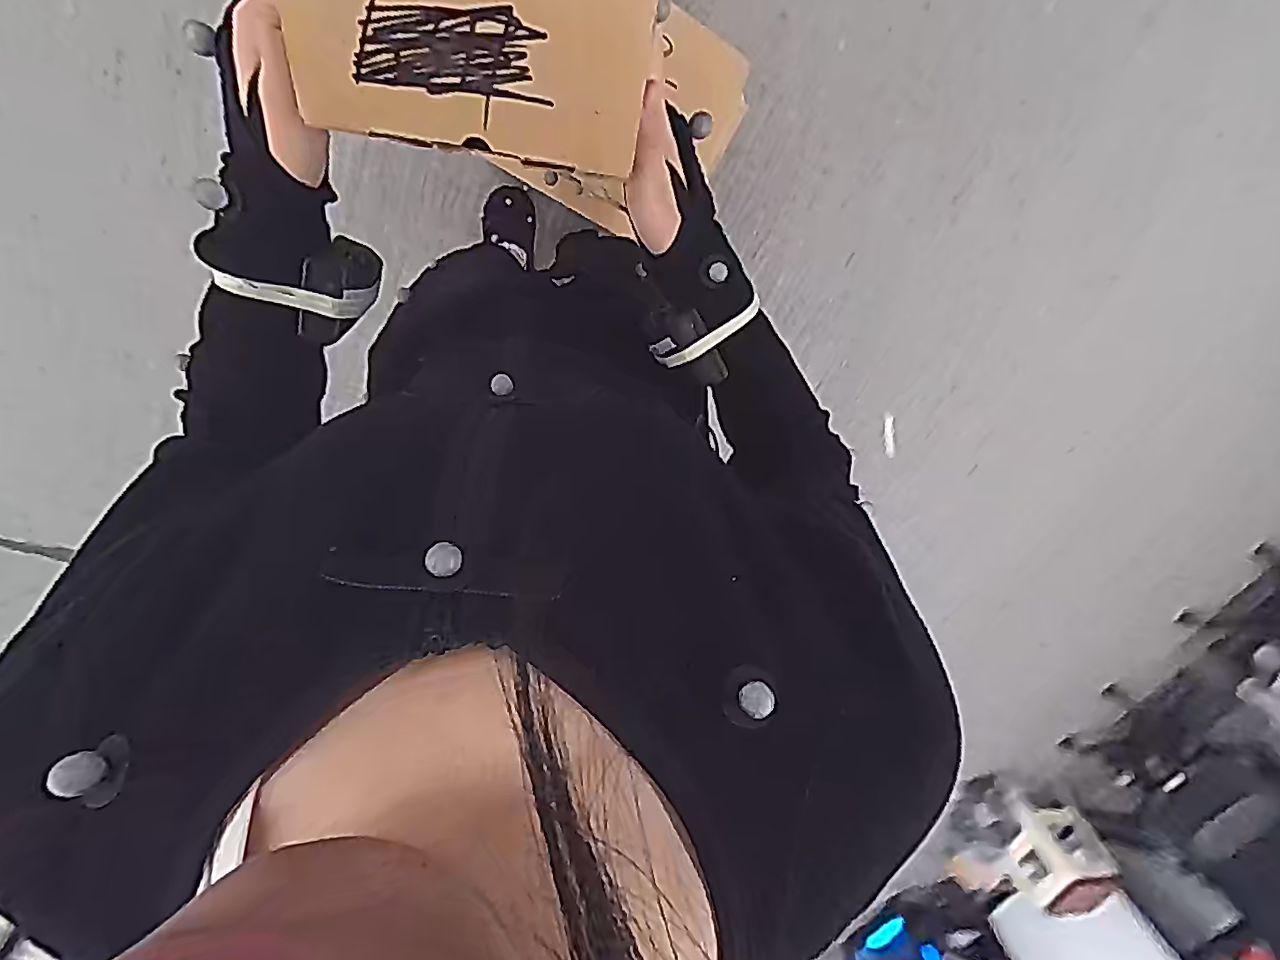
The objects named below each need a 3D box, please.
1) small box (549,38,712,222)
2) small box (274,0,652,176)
[{"bbox_3d":[-0.030,-0.487,0.746,0.168,0.176,0.179,22,115,-19],"label":"small box"},{"bbox_3d":[-0.082,-0.288,0.283,0.168,0.176,0.179,2,131,-14],"label":"small box"}]
